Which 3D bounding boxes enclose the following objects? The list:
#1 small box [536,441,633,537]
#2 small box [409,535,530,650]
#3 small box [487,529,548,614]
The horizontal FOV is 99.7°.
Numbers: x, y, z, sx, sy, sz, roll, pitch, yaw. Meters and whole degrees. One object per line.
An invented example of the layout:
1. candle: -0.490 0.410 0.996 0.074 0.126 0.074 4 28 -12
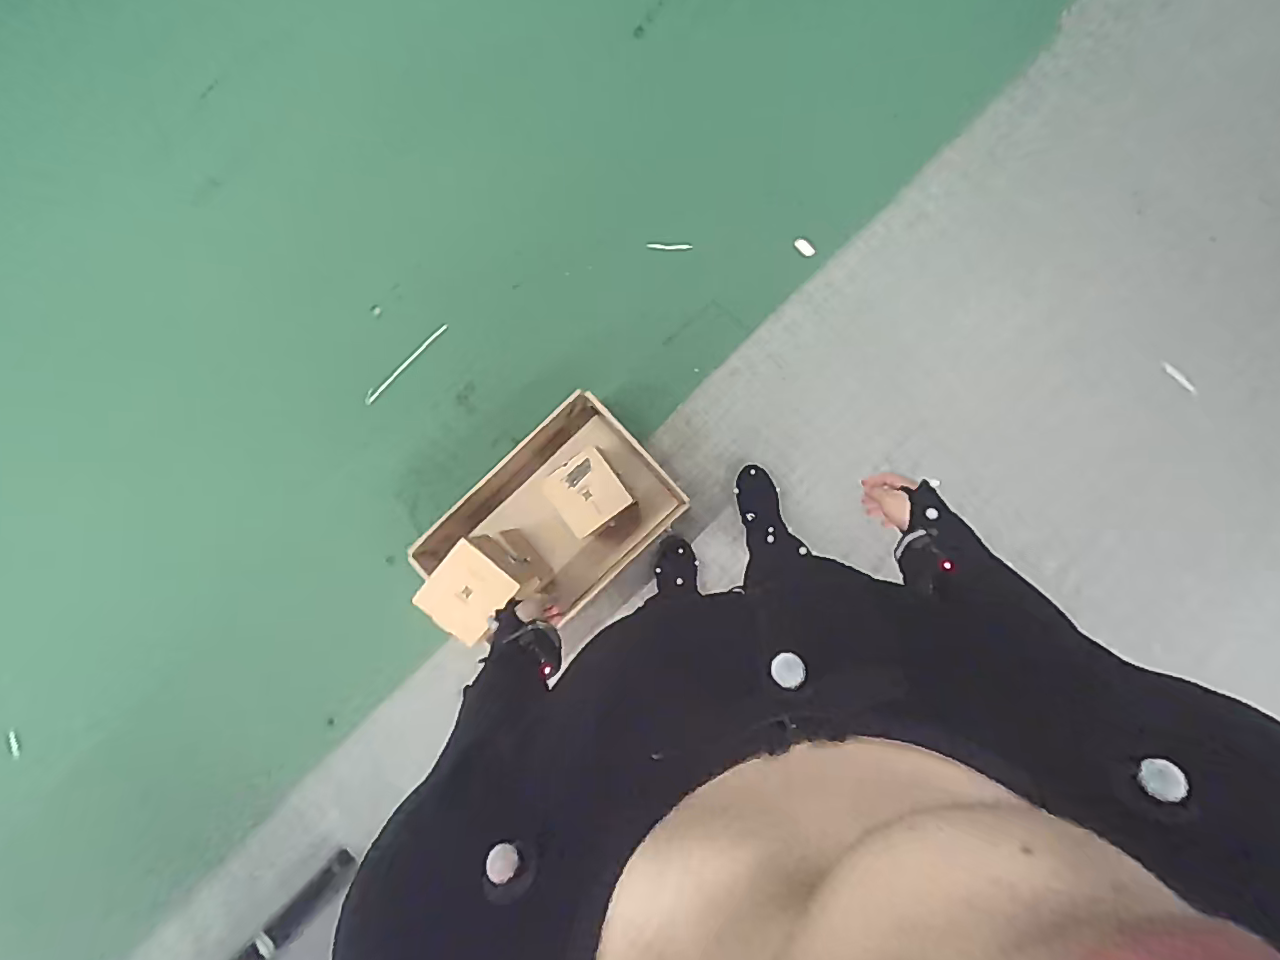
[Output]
1. small box: -0.134 0.025 1.362 0.168 0.176 0.179 -37 88 2
2. small box: -0.365 0.239 1.200 0.168 0.176 0.179 37 88 2
3. small box: -0.356 0.241 1.364 0.179 0.176 0.168 -42 88 1
